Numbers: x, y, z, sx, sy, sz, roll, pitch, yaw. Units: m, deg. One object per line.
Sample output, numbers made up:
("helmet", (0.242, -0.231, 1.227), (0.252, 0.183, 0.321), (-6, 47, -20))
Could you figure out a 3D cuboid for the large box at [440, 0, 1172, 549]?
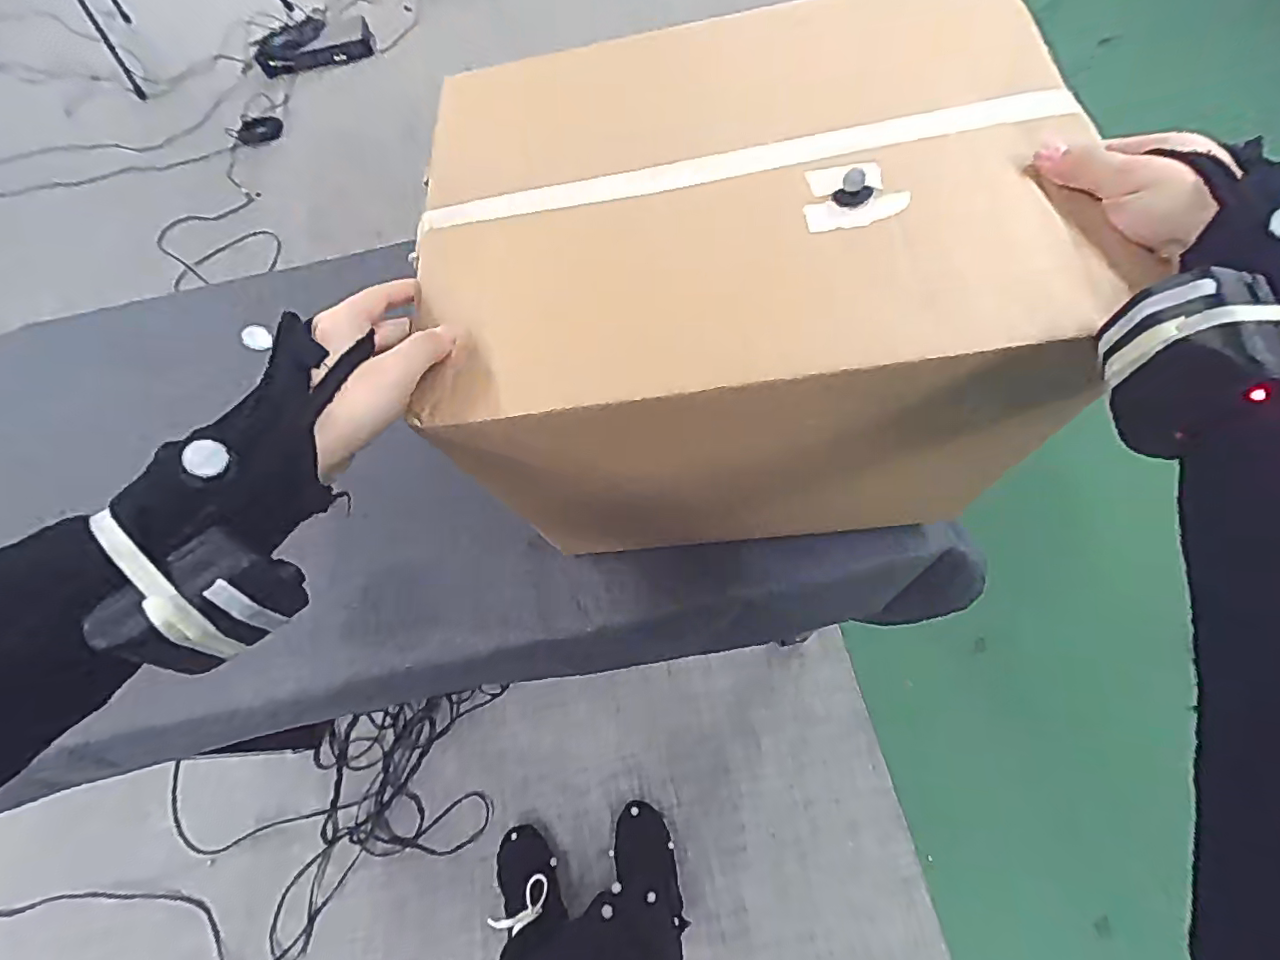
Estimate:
("large box", (0.086, -0.142, 0.487), (0.408, 0.320, 0.320), (-6, 68, 6))
